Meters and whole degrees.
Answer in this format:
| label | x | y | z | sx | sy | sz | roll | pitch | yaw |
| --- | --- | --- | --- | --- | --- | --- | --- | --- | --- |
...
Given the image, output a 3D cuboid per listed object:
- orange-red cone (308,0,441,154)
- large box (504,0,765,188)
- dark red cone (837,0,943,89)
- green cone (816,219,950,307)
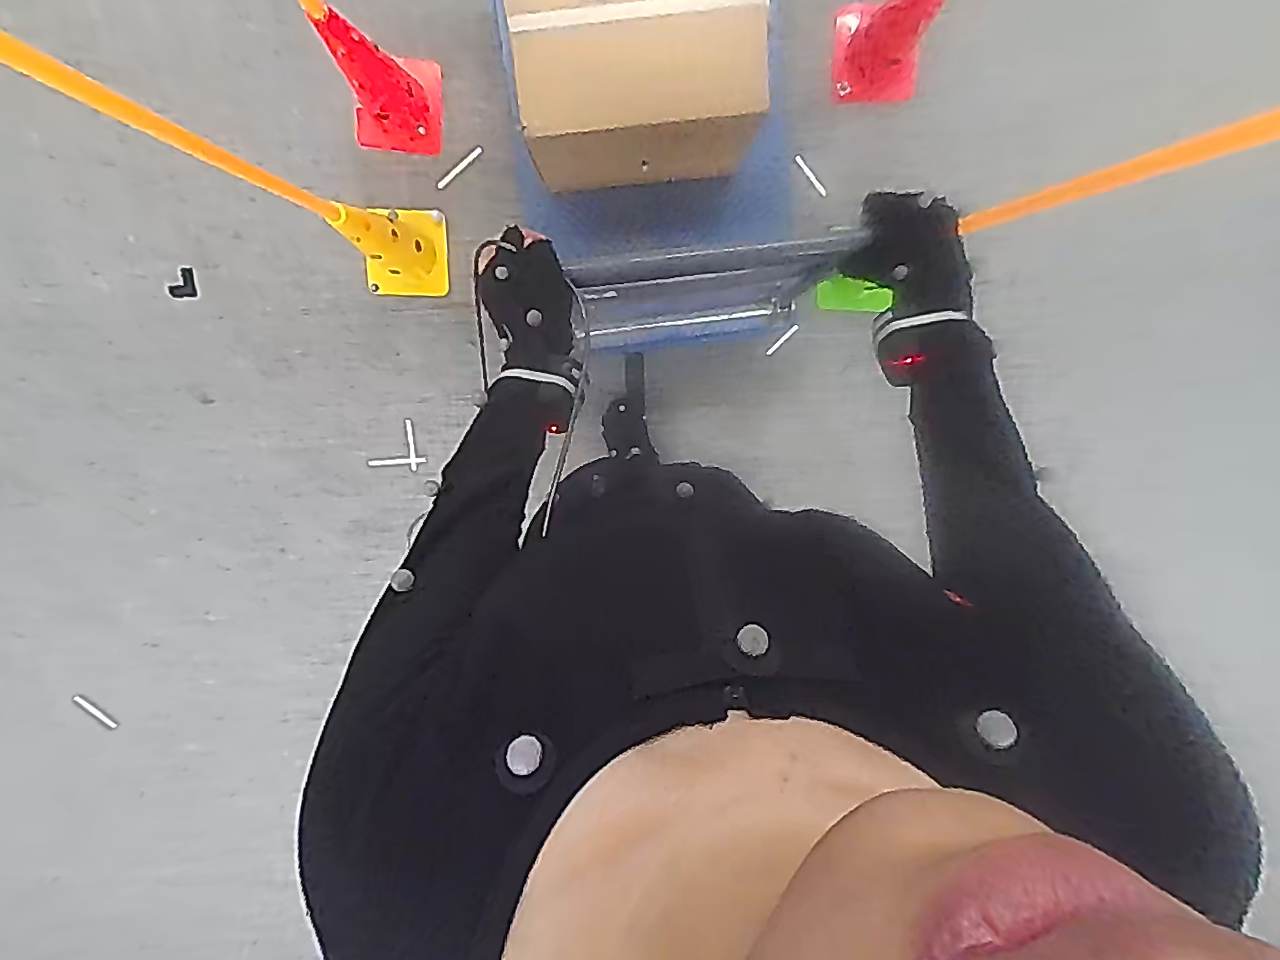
| label | x | y | z | sx | sy | sz | roll | pitch | yaw |
| --- | --- | --- | --- | --- | --- | --- | --- | --- | --- |
| orange-red cone | -0.563 | -0.853 | 1.103 | 0.198 | 0.360 | 0.199 | 5 | 100 | -4 |
| large box | -0.011 | -0.763 | 0.990 | 0.408 | 0.320 | 0.320 | -6 | 103 | 1 |
| dark red cone | 0.563 | -0.981 | 1.088 | 0.201 | 0.394 | 0.202 | -3 | 102 | -3 |
| green cone | 0.560 | -0.510 | 1.205 | 0.202 | 0.368 | 0.200 | 1 | 102 | -3 |
